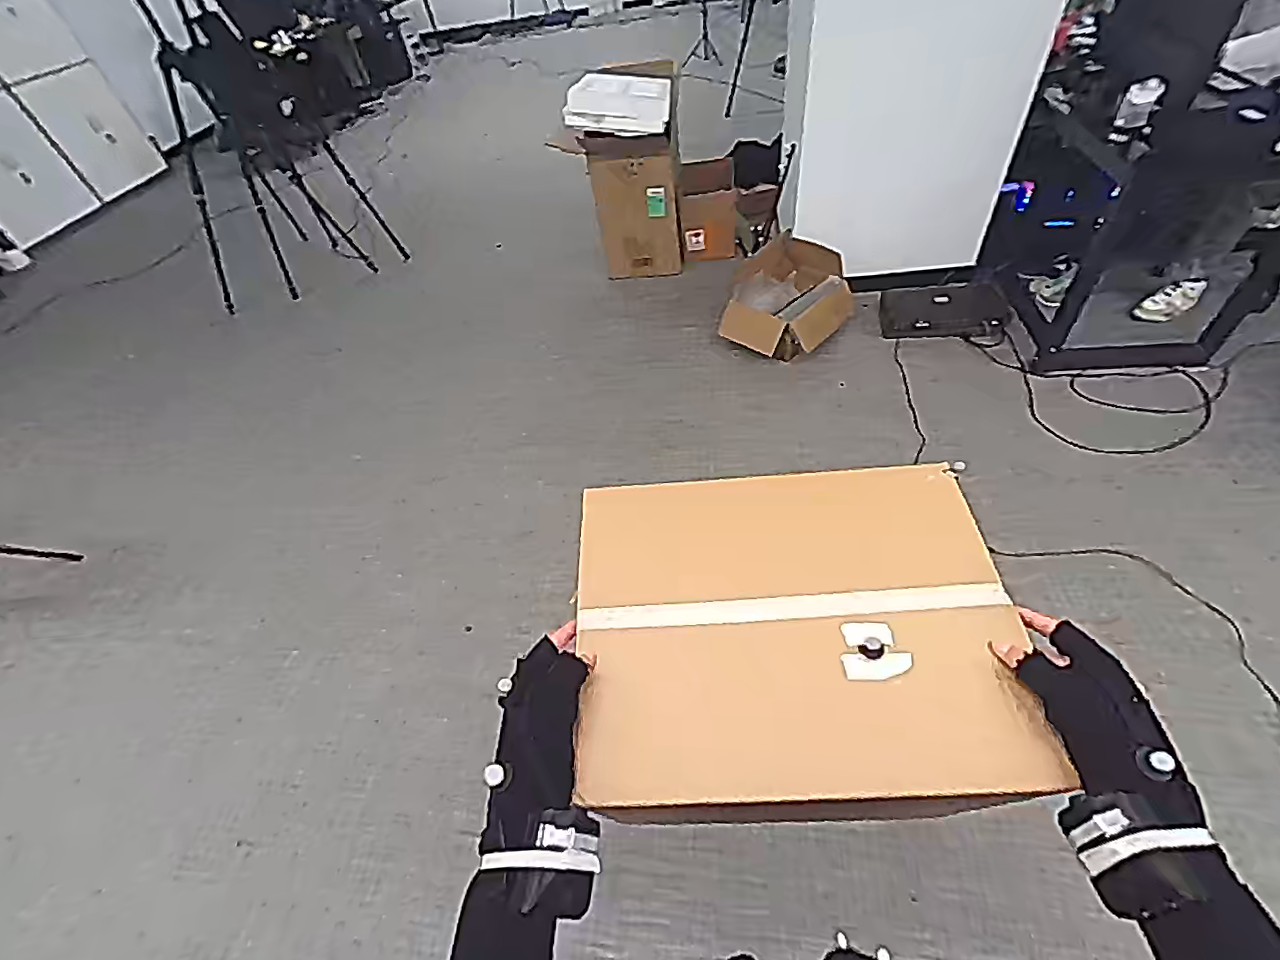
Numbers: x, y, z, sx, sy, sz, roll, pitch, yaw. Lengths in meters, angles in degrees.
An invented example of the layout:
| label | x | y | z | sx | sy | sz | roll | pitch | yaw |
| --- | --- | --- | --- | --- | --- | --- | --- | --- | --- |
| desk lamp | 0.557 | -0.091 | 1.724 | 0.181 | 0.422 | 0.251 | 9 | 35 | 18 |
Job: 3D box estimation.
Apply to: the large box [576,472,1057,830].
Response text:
| label | x | y | z | sx | sy | sz | roll | pitch | yaw |
| --- | --- | --- | --- | --- | --- | --- | --- | --- | --- |
| large box | 0.149 | 0.219 | 0.651 | 0.408 | 0.320 | 0.320 | -5 | 55 | 4 |
